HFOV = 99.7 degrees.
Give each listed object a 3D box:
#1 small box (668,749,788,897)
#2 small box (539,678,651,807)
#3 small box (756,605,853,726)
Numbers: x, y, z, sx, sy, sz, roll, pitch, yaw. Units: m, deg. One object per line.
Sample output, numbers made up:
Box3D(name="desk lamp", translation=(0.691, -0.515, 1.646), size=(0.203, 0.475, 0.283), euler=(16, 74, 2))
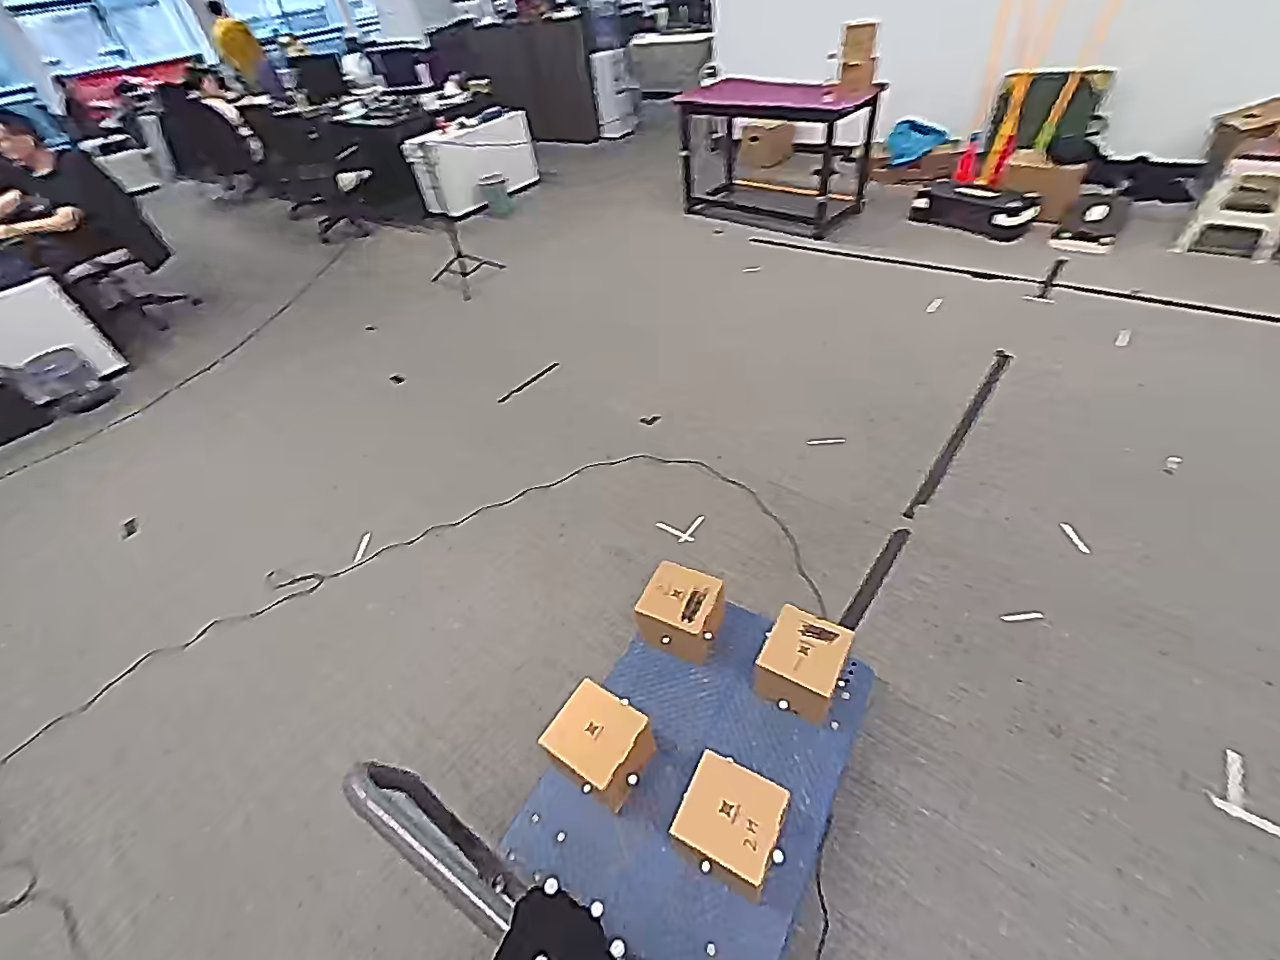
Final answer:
Box3D(name="small box", translation=(0.172, 0.669, 1.052), size=(0.179, 0.176, 0.168), euler=(18, 50, 25))
Box3D(name="small box", translation=(-0.091, 0.579, 1.187), size=(0.179, 0.176, 0.168), euler=(23, 52, 27))
Box3D(name="small box", translation=(0.377, 0.432, 1.262), size=(0.168, 0.176, 0.179), euler=(20, 52, 27))
